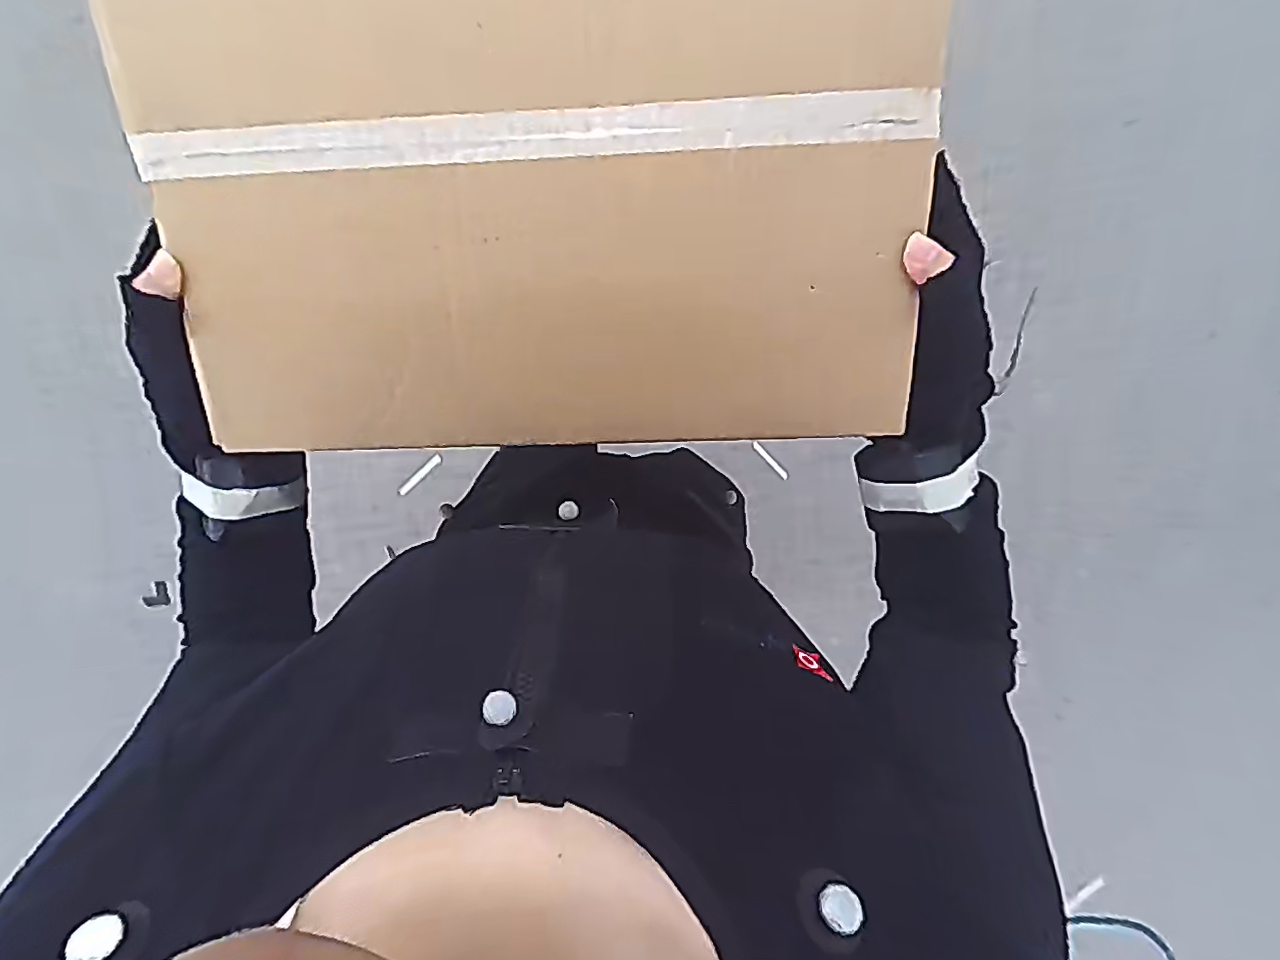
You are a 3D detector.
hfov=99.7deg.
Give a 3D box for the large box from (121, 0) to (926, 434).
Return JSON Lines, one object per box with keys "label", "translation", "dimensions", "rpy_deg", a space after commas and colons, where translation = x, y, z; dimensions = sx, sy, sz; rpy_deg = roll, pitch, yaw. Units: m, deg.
{"label": "large box", "translation": [-0.056, -0.225, 0.423], "dimensions": [0.408, 0.320, 0.320], "rpy_deg": [-1, 108, 2]}
